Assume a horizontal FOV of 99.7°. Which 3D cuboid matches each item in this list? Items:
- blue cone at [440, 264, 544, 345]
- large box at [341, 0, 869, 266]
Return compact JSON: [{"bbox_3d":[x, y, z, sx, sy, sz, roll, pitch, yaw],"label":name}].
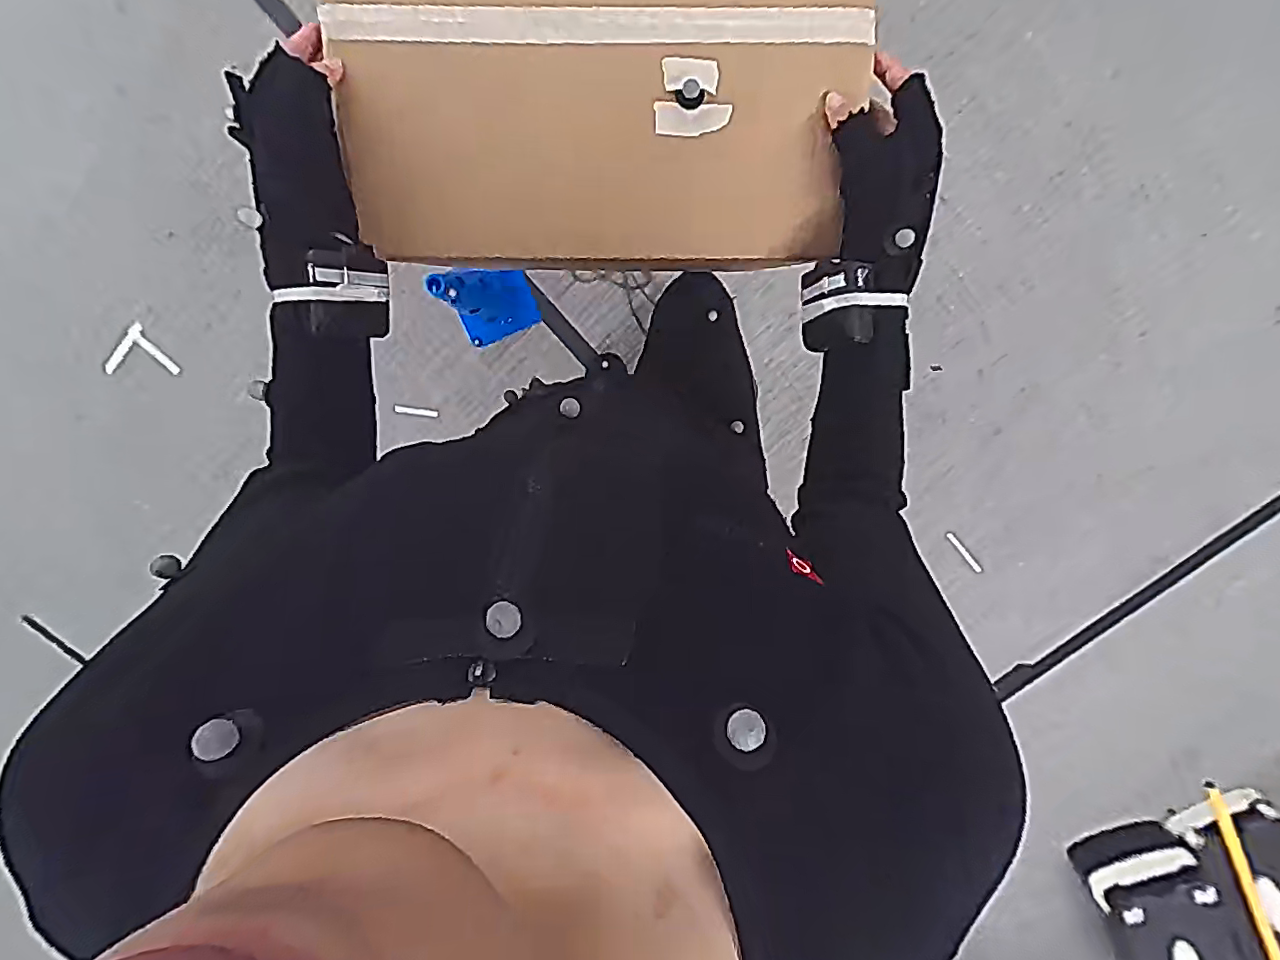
[{"bbox_3d":[-0.370,-0.425,1.234,0.193,0.380,0.192,-20,104,8],"label":"blue cone"},{"bbox_3d":[-0.030,-0.393,0.549,0.408,0.320,0.320,0,110,-2],"label":"large box"}]
